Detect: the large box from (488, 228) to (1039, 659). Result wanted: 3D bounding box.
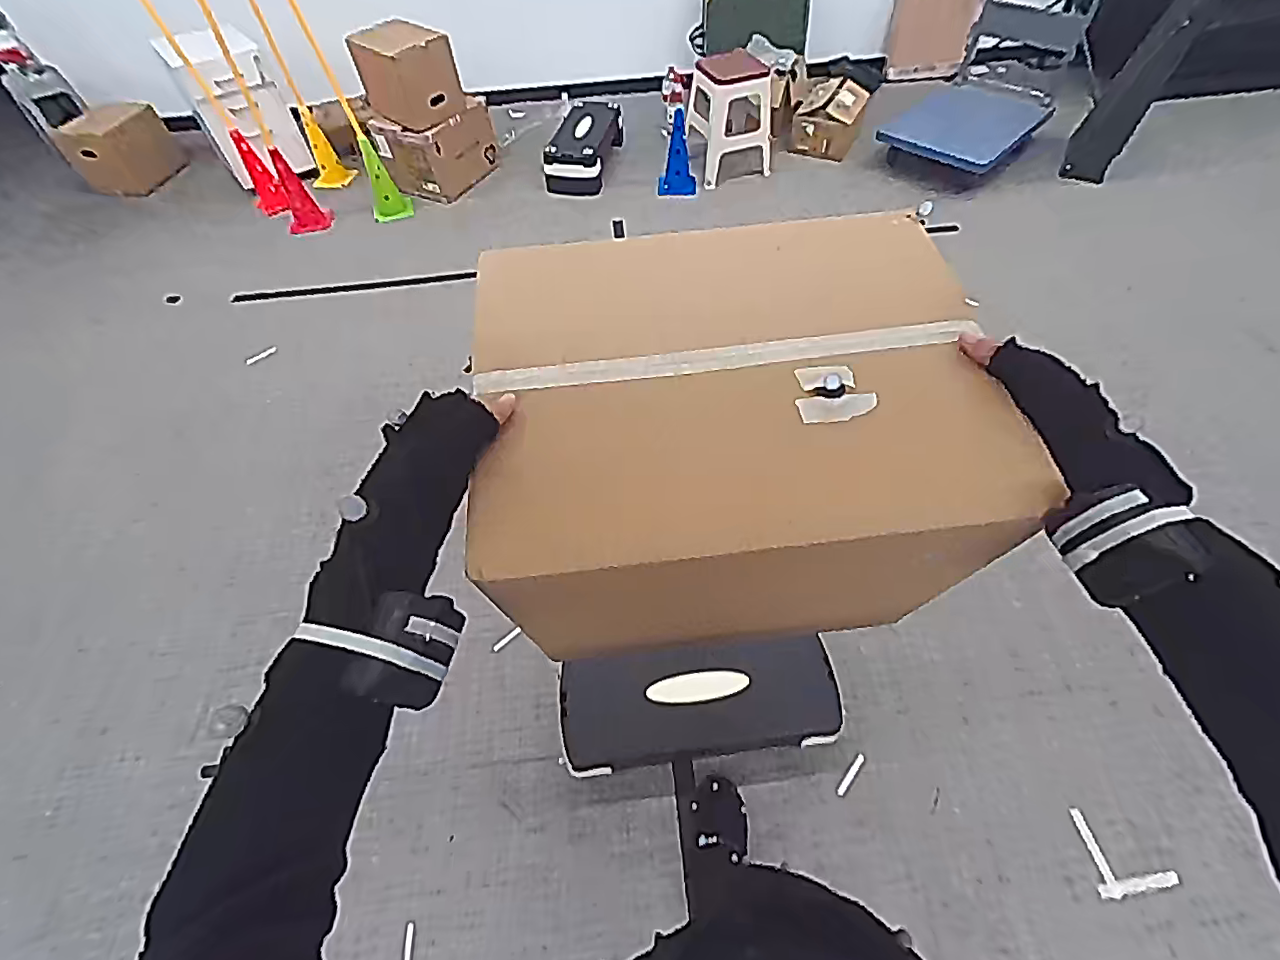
[{"bbox_3d":[0.075,-0.018,0.578,0.408,0.320,0.320,-7,62,-2],"label":"large box"}]
